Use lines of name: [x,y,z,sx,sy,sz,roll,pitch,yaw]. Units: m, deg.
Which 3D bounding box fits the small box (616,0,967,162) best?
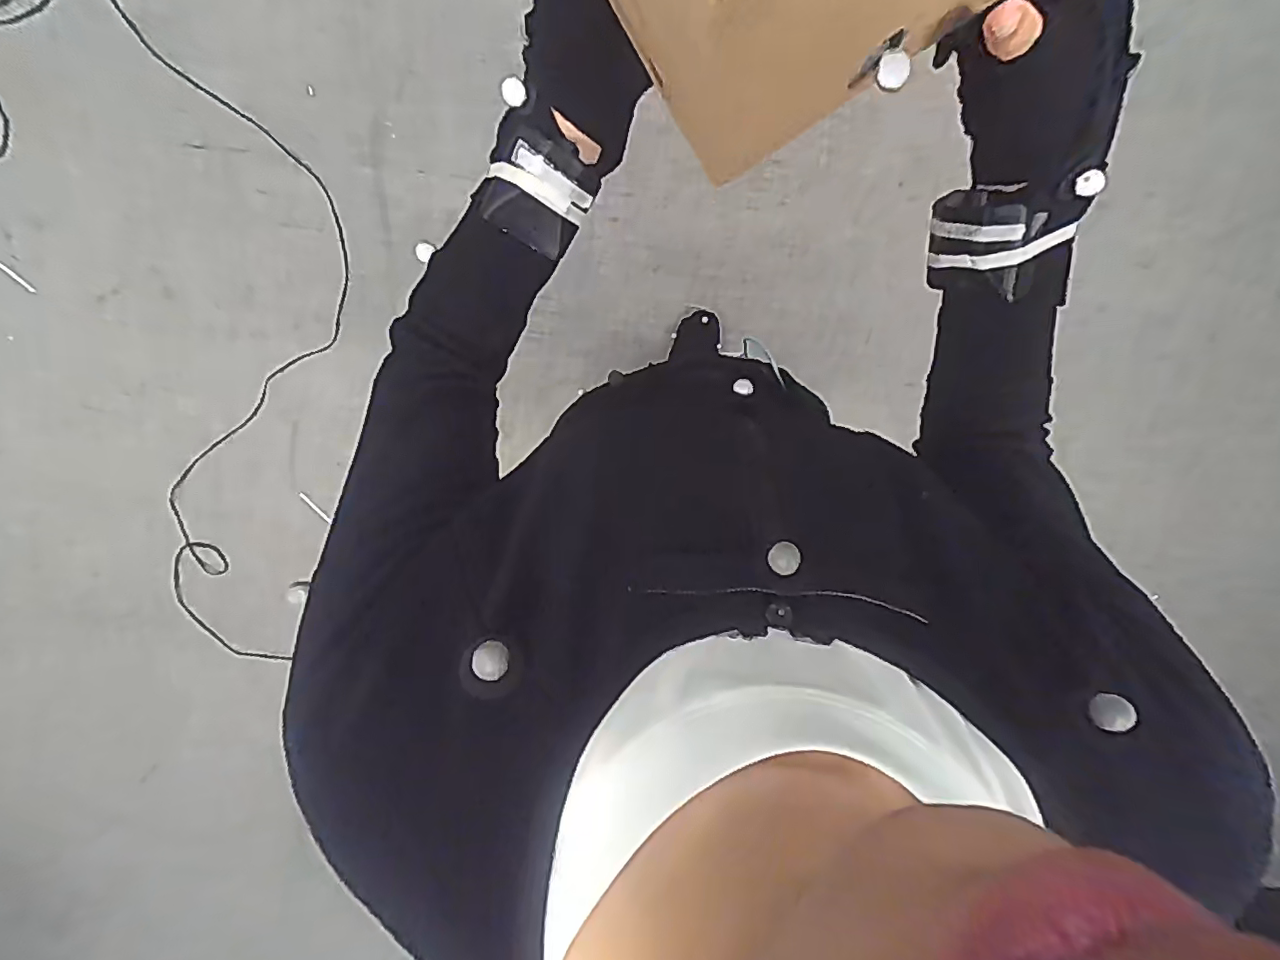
small box: [0.061,-0.258,0.188,0.179,0.176,0.168,-29,97,13]
